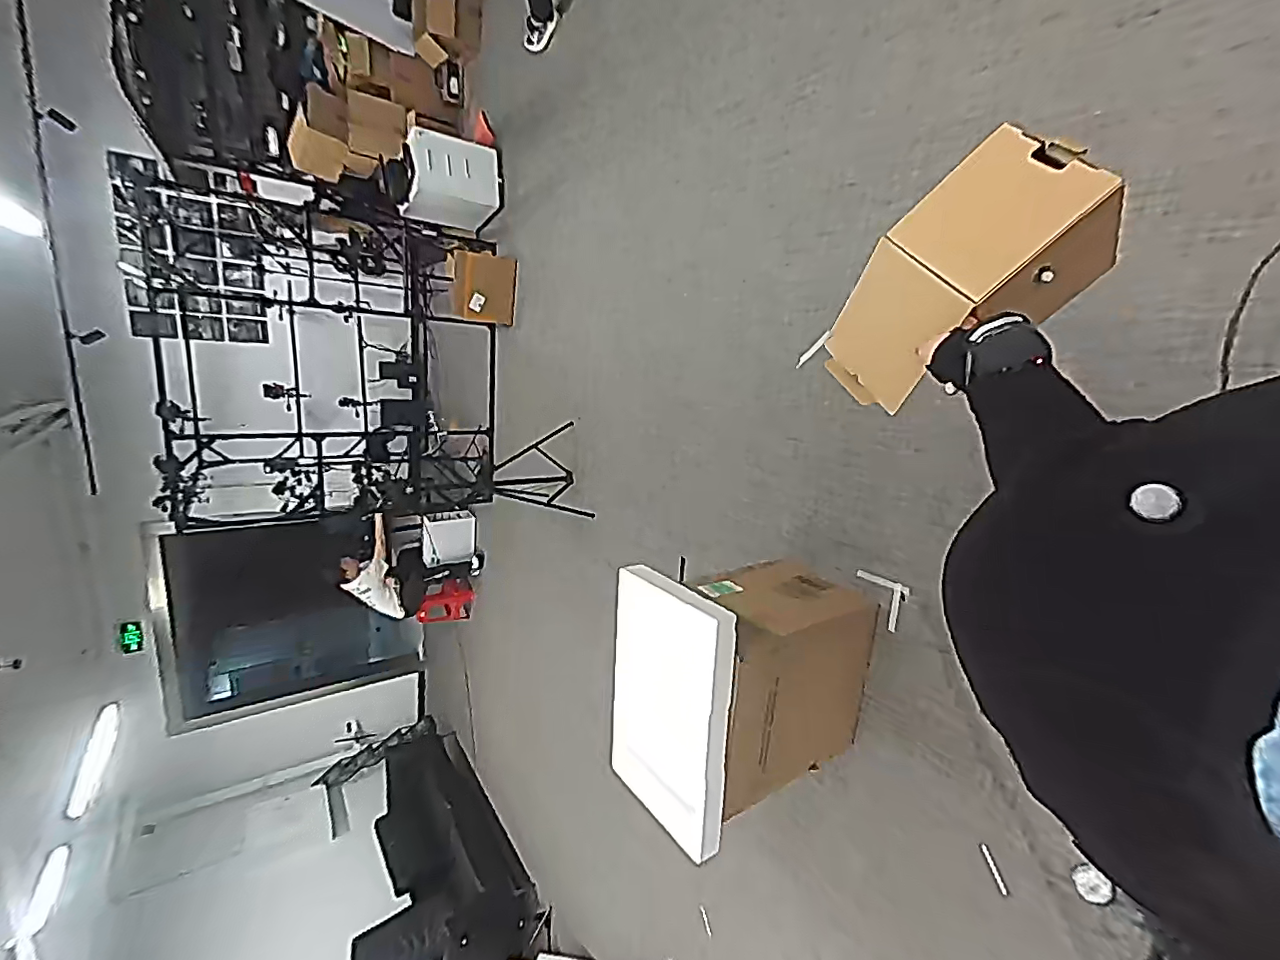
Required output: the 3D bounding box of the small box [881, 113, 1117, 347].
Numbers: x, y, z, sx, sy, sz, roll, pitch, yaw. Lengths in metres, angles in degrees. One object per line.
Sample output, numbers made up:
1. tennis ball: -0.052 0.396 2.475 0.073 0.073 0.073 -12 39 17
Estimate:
1. small box: 0.449 -0.302 0.685 0.179 0.176 0.168 -43 56 21
